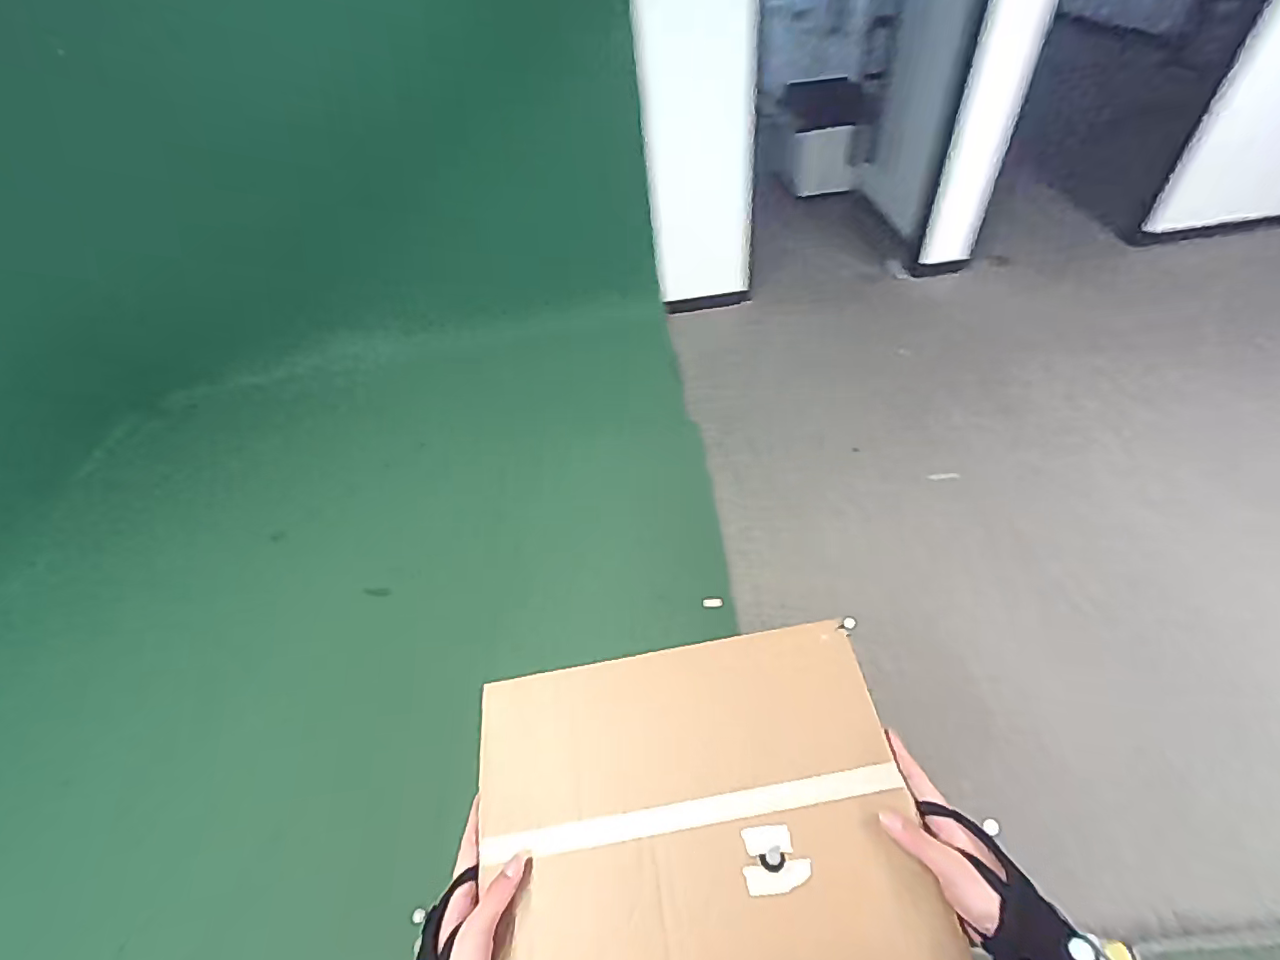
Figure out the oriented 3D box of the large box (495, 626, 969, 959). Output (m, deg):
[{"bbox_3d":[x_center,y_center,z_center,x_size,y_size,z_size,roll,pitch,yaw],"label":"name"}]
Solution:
[{"bbox_3d":[0.071,0.409,0.641,0.408,0.320,0.320,-10,55,1],"label":"large box"}]
